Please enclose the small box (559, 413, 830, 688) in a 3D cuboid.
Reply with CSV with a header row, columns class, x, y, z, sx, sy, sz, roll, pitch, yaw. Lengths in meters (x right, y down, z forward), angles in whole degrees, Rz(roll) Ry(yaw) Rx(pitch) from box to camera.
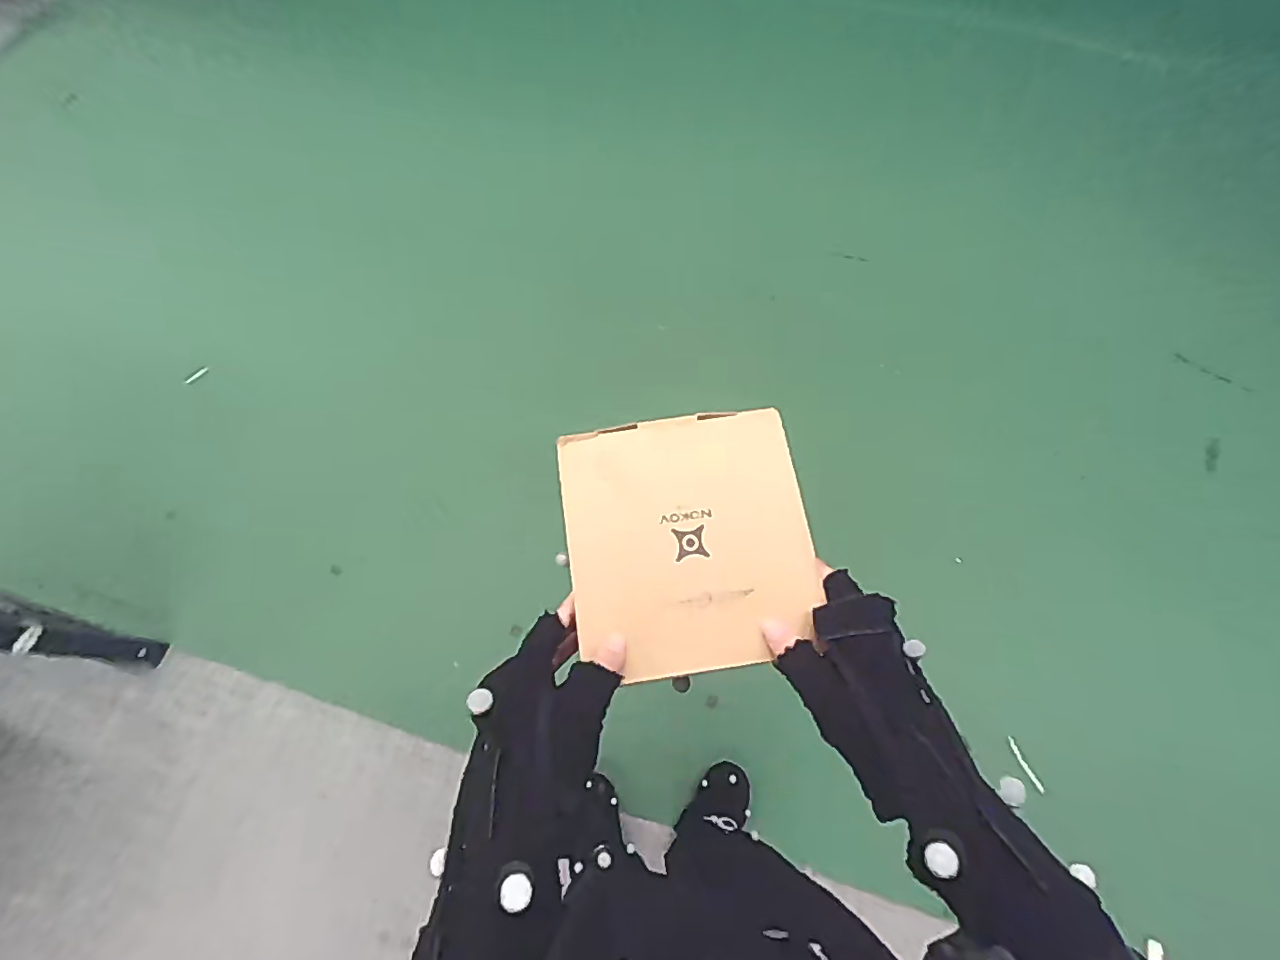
class,x,y,z,sx,sy,sz,roll,pitch,yaw
small box,0.030,0.066,0.447,0.168,0.176,0.179,-8,72,-3
